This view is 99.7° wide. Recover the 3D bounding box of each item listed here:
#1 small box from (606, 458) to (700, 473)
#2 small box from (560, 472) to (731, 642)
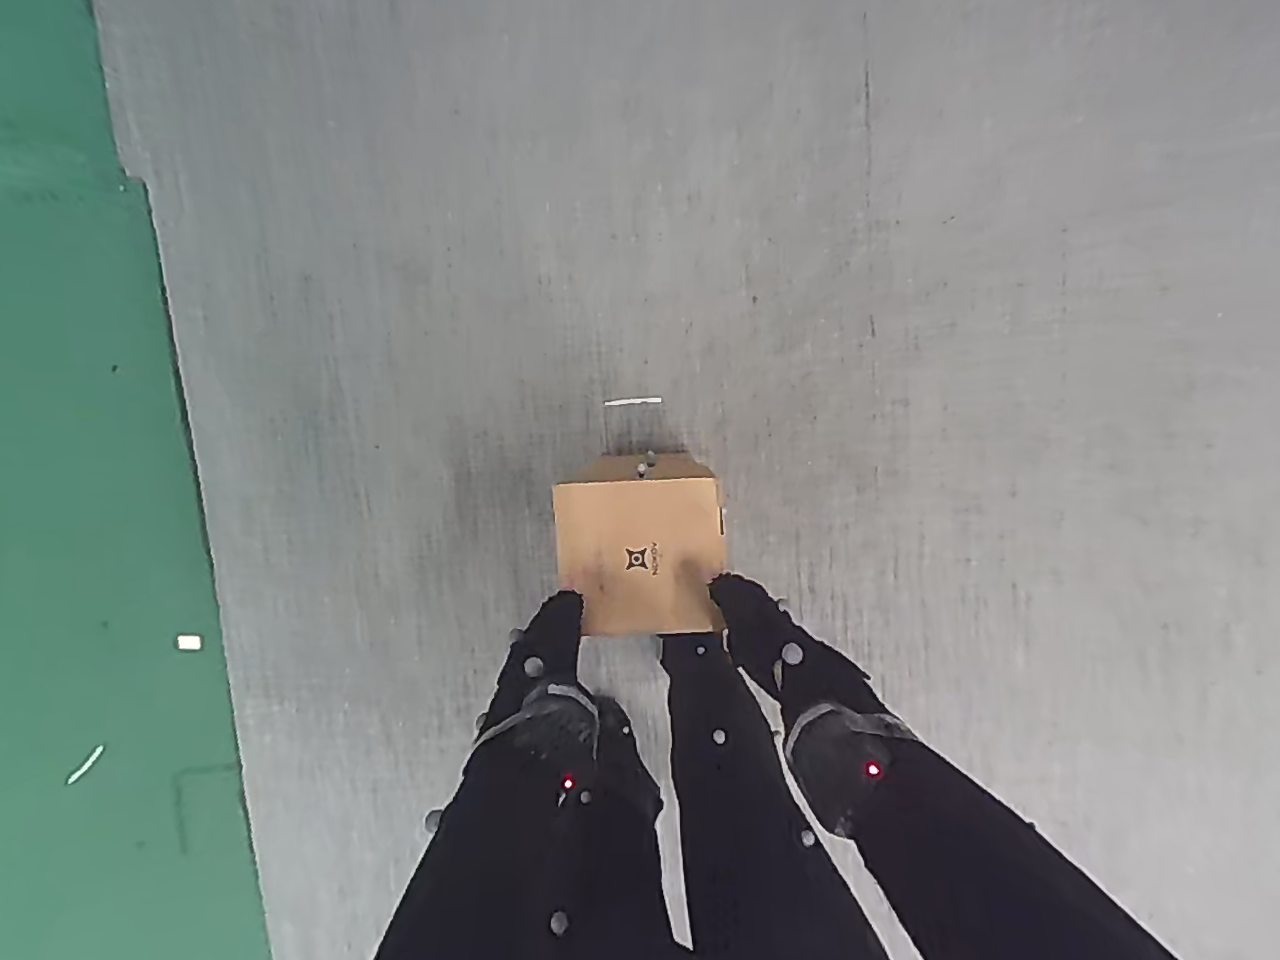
[{"bbox_3d":[0.019,0.053,0.974,0.179,0.176,0.168,-6,96,2],"label":"small box"},{"bbox_3d":[0.008,0.081,0.650,0.179,0.176,0.168,-4,95,3],"label":"small box"}]
